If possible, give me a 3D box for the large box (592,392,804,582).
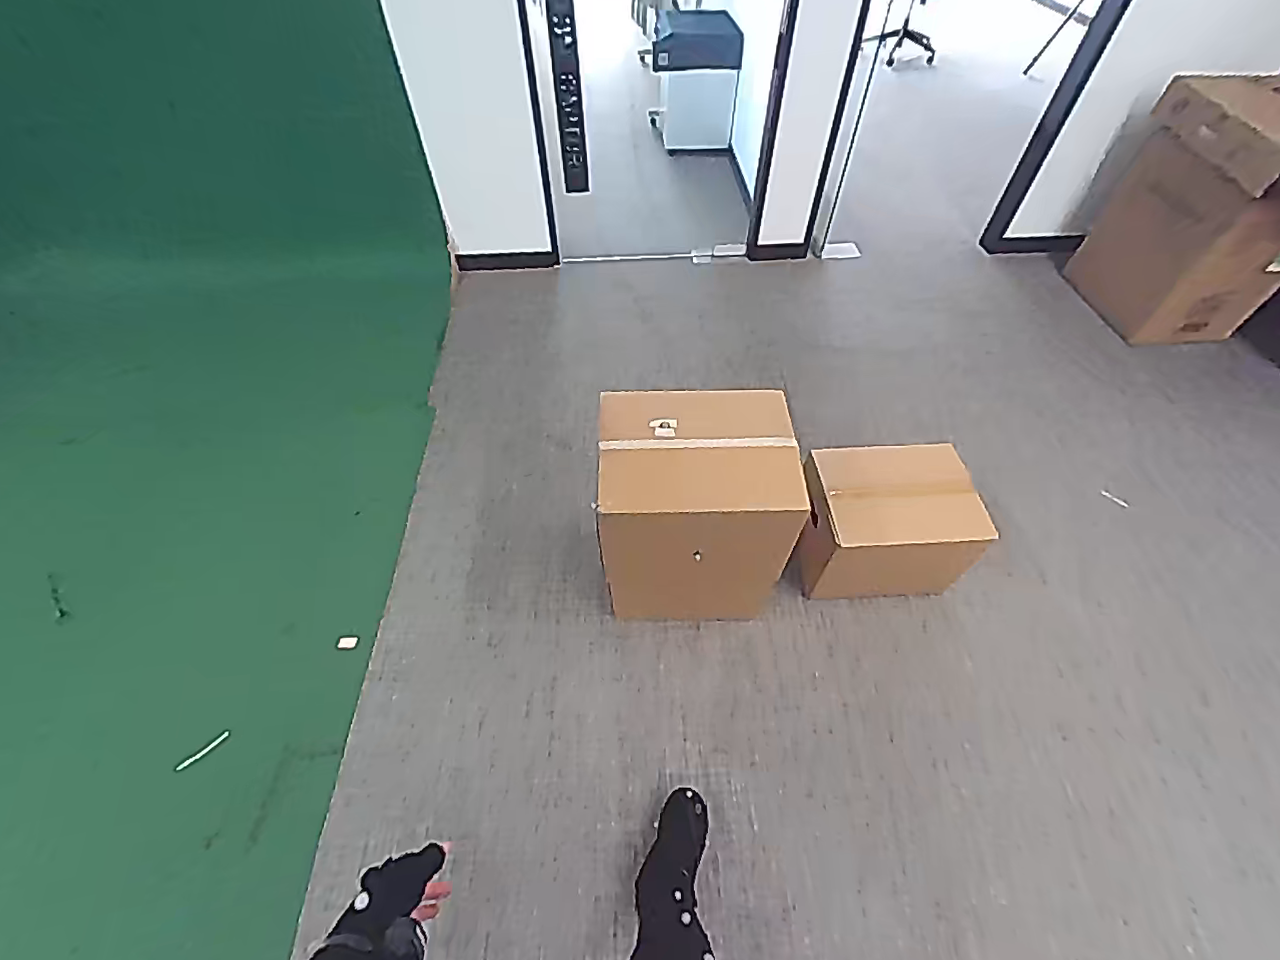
[{"bbox_3d":[0.110,0.025,1.213,0.408,0.320,0.320,-1,55,1],"label":"large box"}]
